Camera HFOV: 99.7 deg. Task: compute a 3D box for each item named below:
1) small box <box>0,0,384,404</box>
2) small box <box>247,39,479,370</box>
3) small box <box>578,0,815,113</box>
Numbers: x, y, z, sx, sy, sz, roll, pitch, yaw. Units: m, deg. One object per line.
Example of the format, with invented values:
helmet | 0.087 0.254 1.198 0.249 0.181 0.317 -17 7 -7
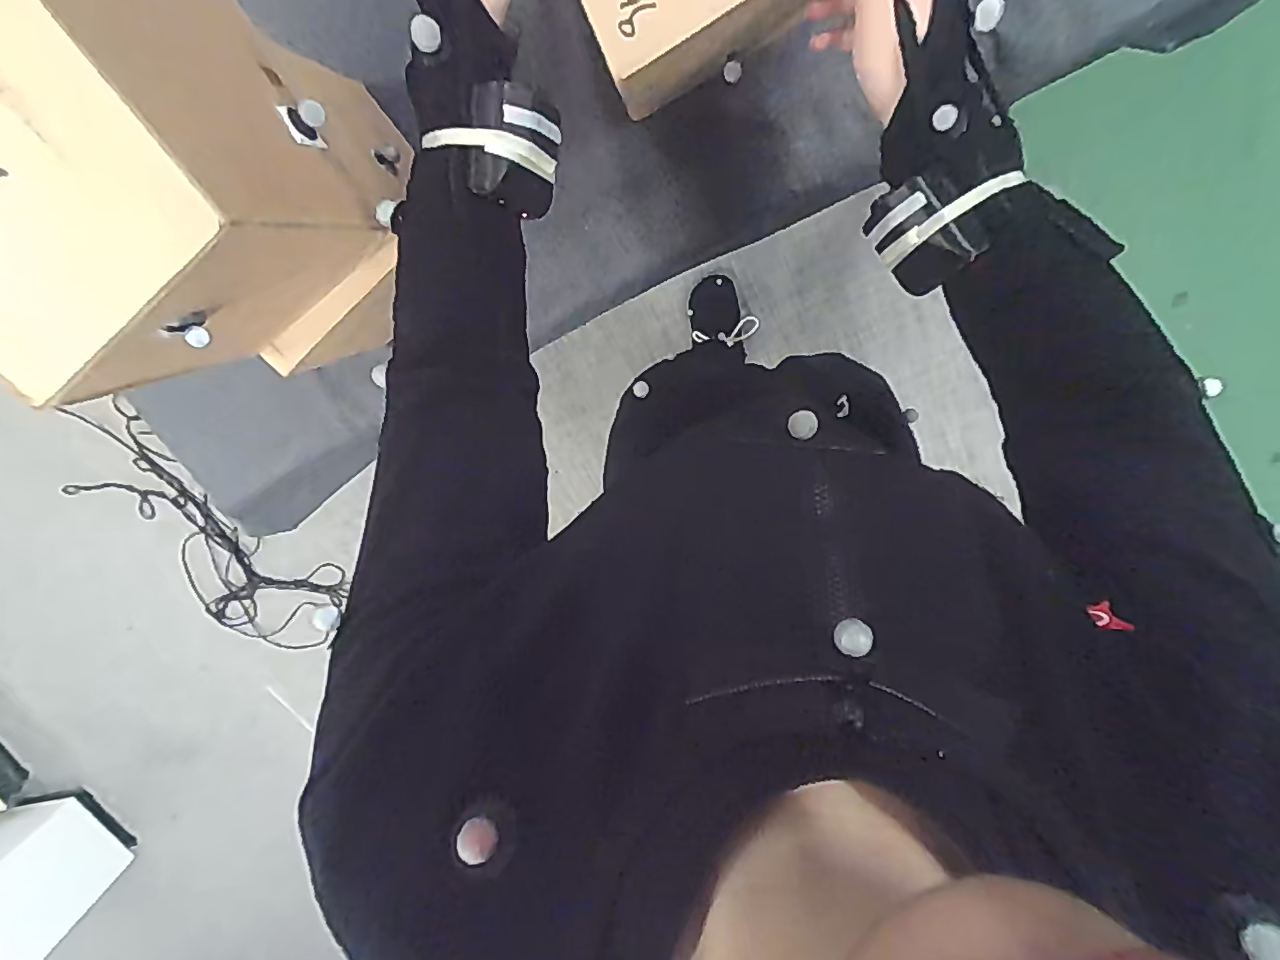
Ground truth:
small box | -0.295 -0.174 0.314 0.179 0.176 0.168 -30 109 16
small box | -0.276 -0.226 0.468 0.168 0.176 0.179 -33 107 18
small box | 0.030 -0.382 0.359 0.179 0.176 0.168 -23 113 15
